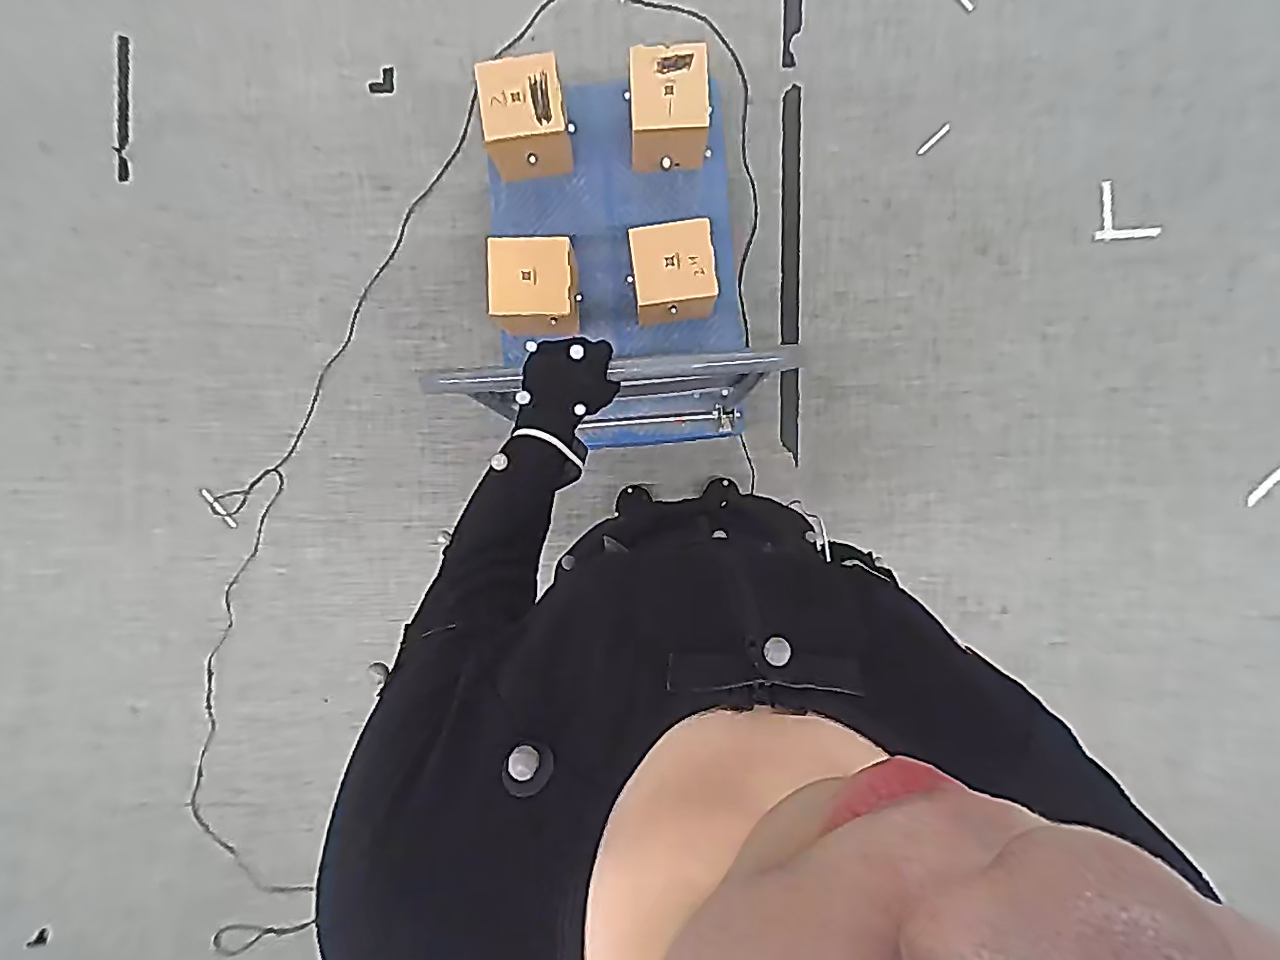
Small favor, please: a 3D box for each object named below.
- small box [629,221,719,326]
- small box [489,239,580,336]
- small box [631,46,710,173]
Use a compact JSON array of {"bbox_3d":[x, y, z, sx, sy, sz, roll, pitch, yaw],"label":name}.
[{"bbox_3d":[0.075,-0.459,1.226,0.179,0.176,0.168,-8,91,1],"label":"small box"},{"bbox_3d":[-0.233,-0.431,1.231,0.179,0.176,0.168,-1,91,-1],"label":"small box"},{"bbox_3d":[0.064,-0.825,1.217,0.168,0.176,0.179,-3,93,1],"label":"small box"}]
